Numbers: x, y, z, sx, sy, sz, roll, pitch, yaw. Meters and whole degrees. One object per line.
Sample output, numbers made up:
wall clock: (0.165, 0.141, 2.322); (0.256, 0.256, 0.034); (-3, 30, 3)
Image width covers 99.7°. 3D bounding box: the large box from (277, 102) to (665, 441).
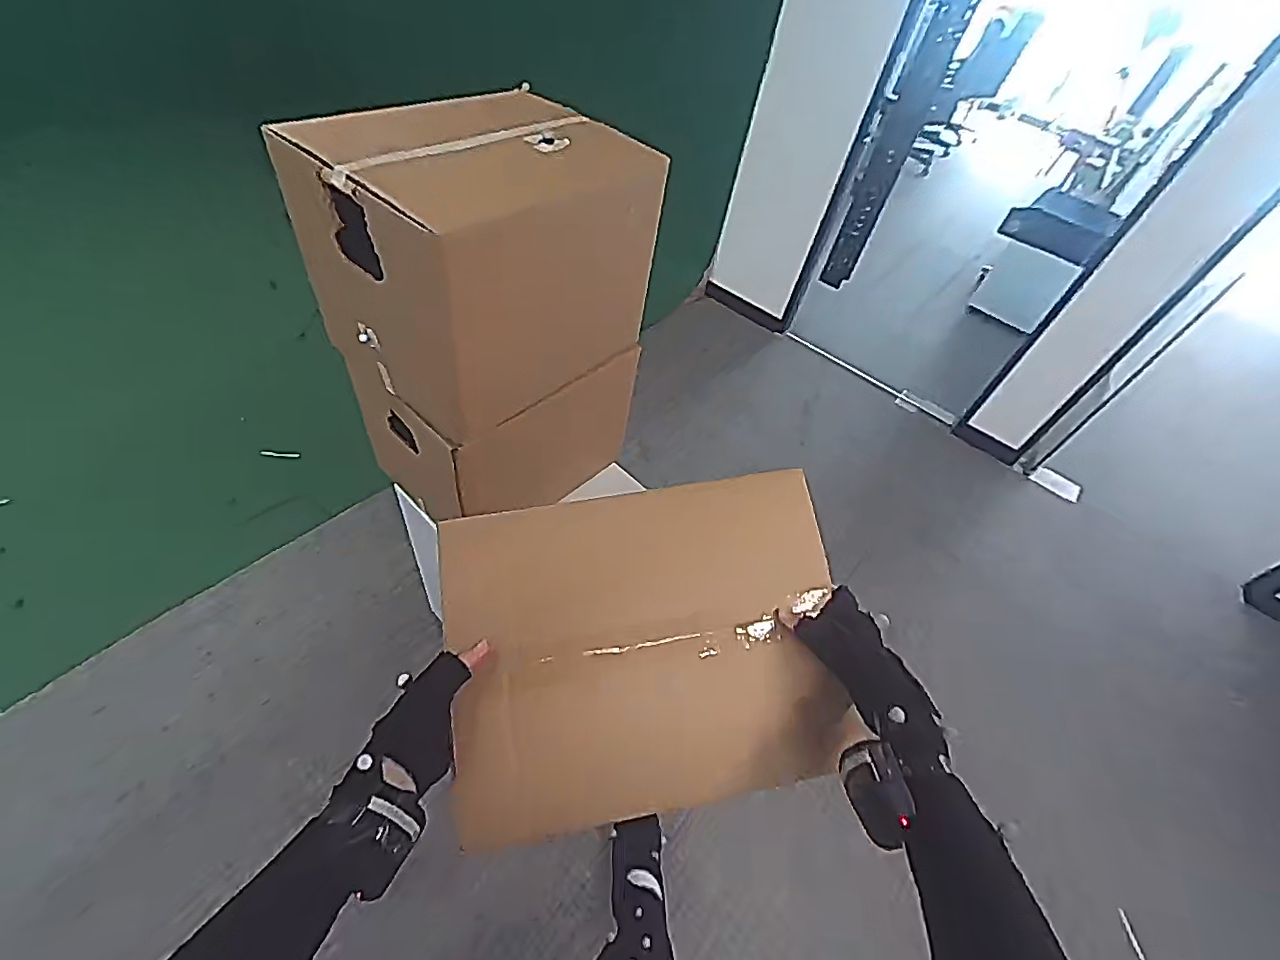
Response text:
large box: (-0.221, -0.329, 0.817); (0.320, 0.320, 0.408); (36, 51, 19)
